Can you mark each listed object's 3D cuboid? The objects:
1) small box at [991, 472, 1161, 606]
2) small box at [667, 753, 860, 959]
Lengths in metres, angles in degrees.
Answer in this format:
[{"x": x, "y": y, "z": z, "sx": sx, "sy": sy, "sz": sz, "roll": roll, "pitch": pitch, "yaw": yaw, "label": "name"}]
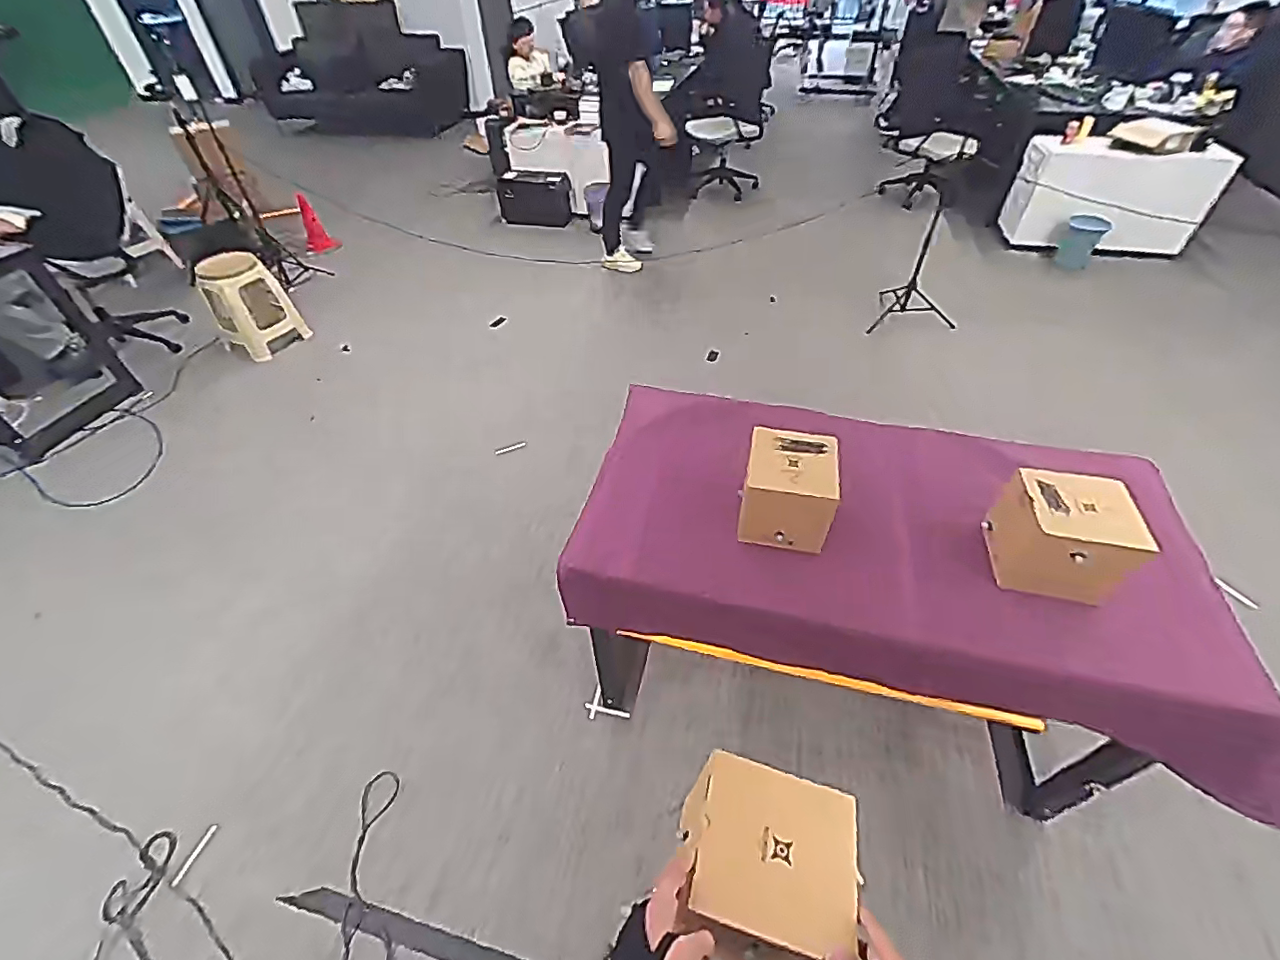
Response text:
[{"x": 0.777, "y": 0.110, "z": 0.994, "sx": 0.179, "sy": 0.176, "sz": 0.168, "roll": 9, "pitch": 46, "yaw": 10, "label": "small box"}, {"x": 0.142, "y": 0.463, "z": 0.642, "sx": 0.179, "sy": 0.176, "sz": 0.168, "roll": 15, "pitch": 42, "yaw": 8, "label": "small box"}]
